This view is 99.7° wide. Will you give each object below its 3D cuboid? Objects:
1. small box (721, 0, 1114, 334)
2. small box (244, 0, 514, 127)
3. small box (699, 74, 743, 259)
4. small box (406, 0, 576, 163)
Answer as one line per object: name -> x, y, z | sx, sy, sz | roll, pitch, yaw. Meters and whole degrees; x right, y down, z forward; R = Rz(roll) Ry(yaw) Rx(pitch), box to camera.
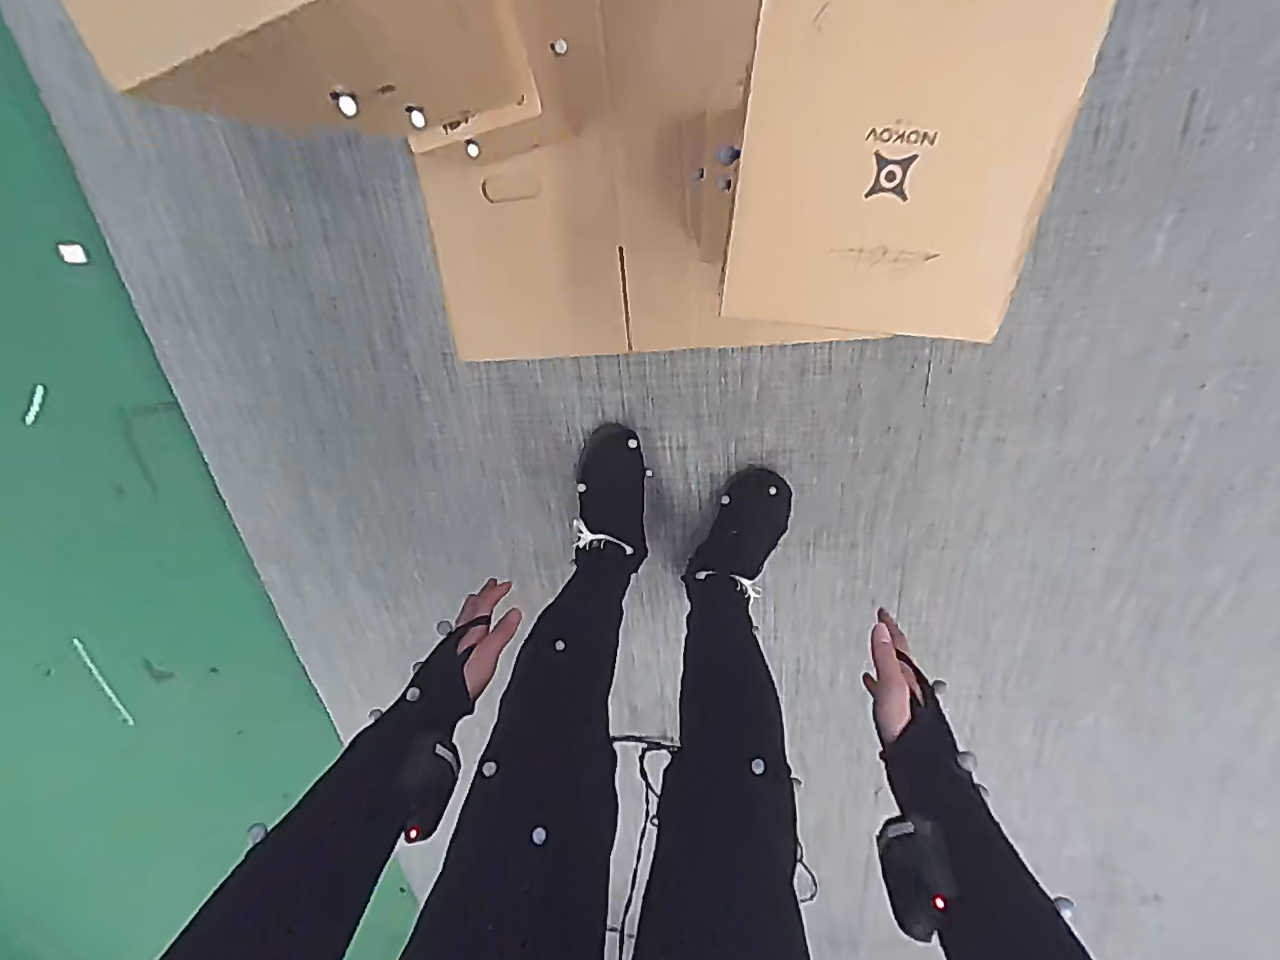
small box -> 0.146, -0.208, 0.360 | 0.168, 0.176, 0.179 | 8, 117, 6
small box -> -0.236, -0.445, 0.495 | 0.168, 0.176, 0.179 | -8, 113, 12
small box -> 0.162, -0.365, 0.650 | 0.168, 0.176, 0.179 | 3, 115, 8
small box -> -0.190, -0.503, 0.644 | 0.168, 0.176, 0.179 | -8, 113, 13
